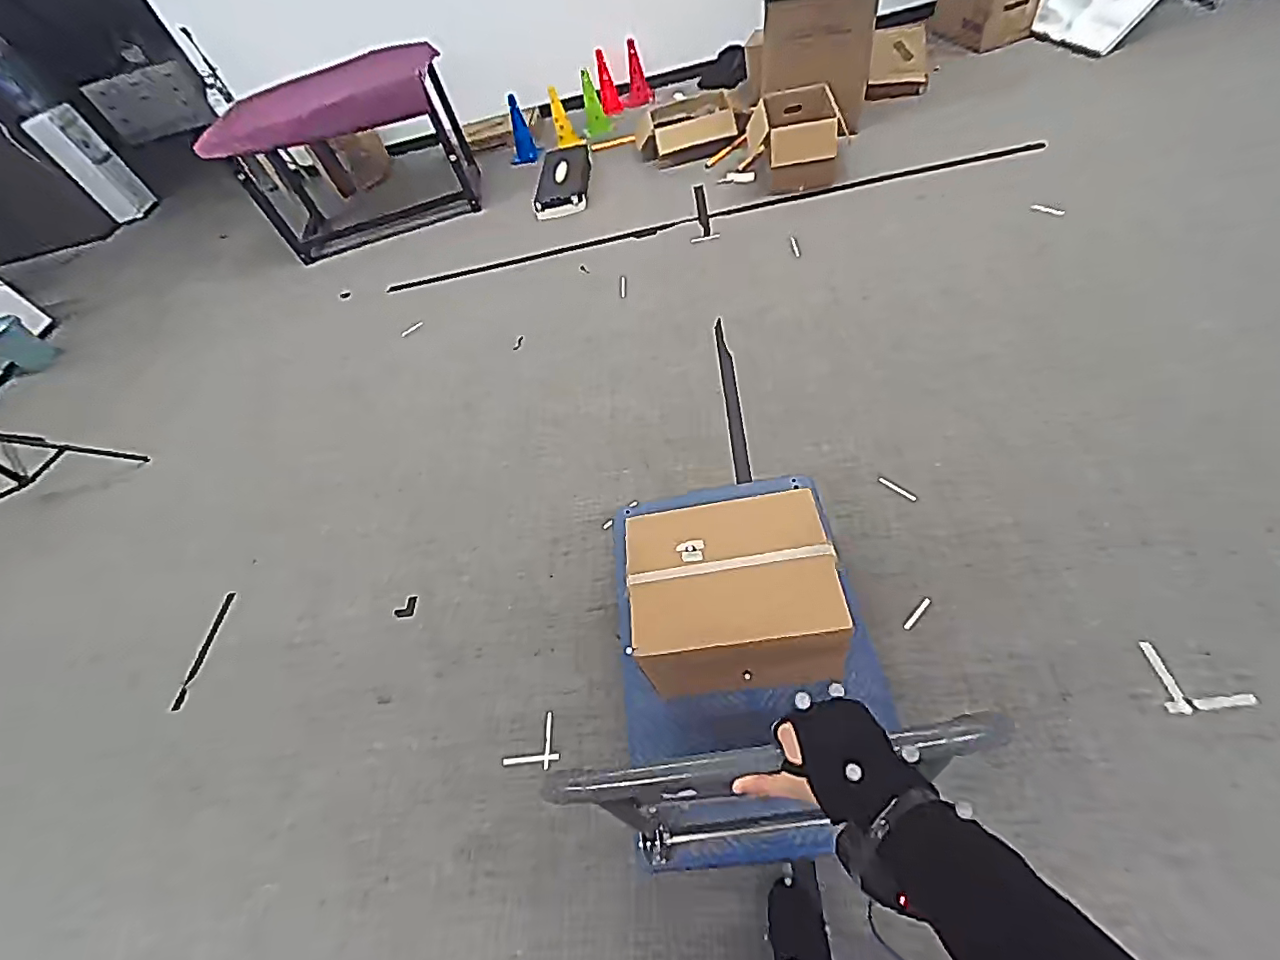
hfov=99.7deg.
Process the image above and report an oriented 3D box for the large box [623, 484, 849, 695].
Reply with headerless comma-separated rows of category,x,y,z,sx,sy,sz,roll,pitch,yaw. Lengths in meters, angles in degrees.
large box,0.202,0.252,1.185,0.408,0.320,0.320,-11,51,8
